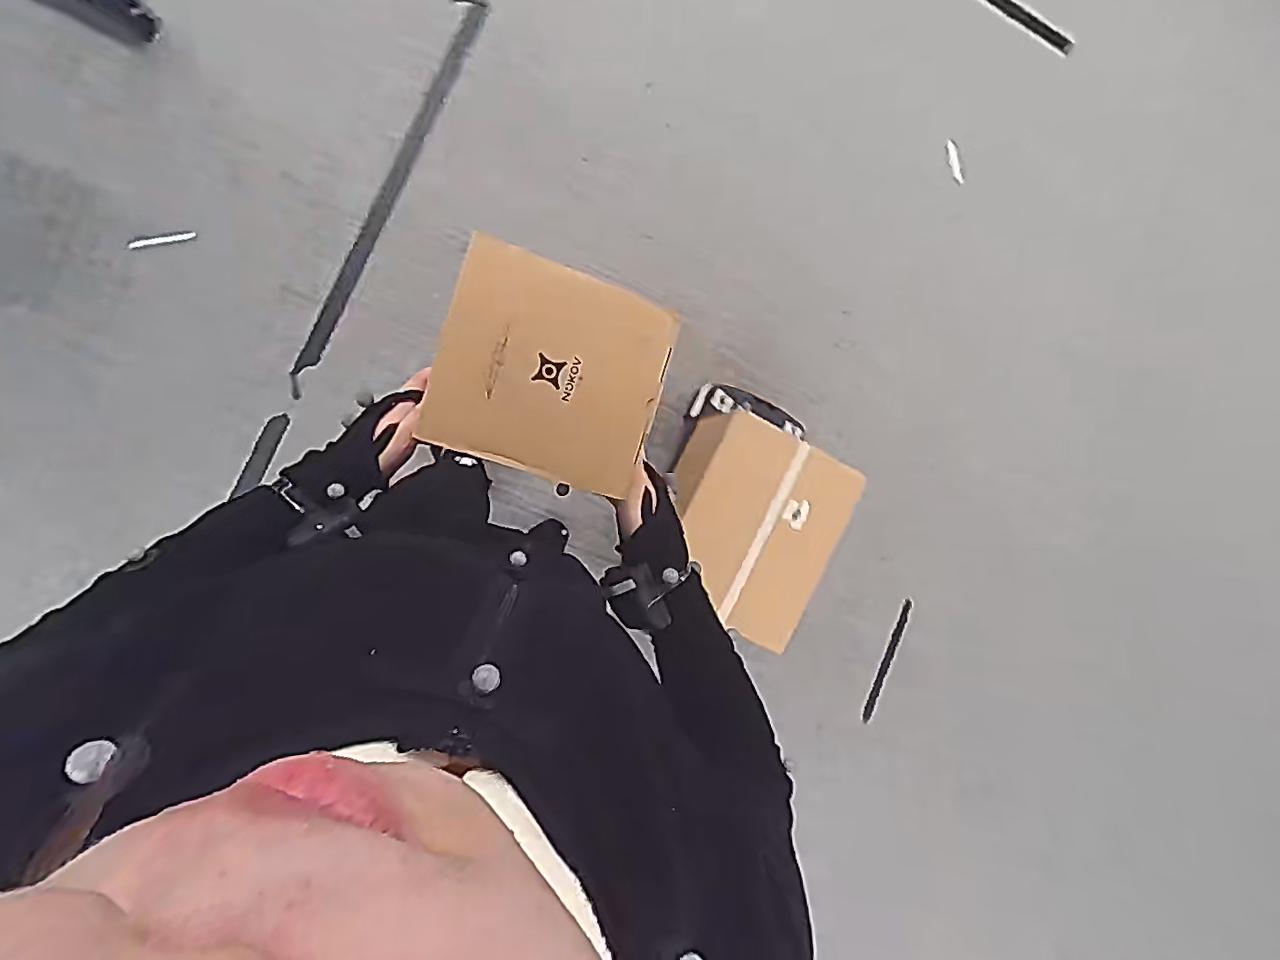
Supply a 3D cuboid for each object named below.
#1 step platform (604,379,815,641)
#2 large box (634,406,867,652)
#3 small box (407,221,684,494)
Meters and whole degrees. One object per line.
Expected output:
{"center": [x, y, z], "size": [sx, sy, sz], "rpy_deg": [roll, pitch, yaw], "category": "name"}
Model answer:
{"center": [0.182, 0.074, 1.444], "size": [0.286, 0.204, 0.684], "rpy_deg": [30, 86, -8], "category": "step platform"}
{"center": [0.220, 0.101, 1.208], "size": [0.320, 0.320, 0.408], "rpy_deg": [28, 86, -9], "category": "large box"}
{"center": [-0.086, -0.097, 0.493], "size": [0.179, 0.176, 0.168], "rpy_deg": [17, 91, -14], "category": "small box"}
